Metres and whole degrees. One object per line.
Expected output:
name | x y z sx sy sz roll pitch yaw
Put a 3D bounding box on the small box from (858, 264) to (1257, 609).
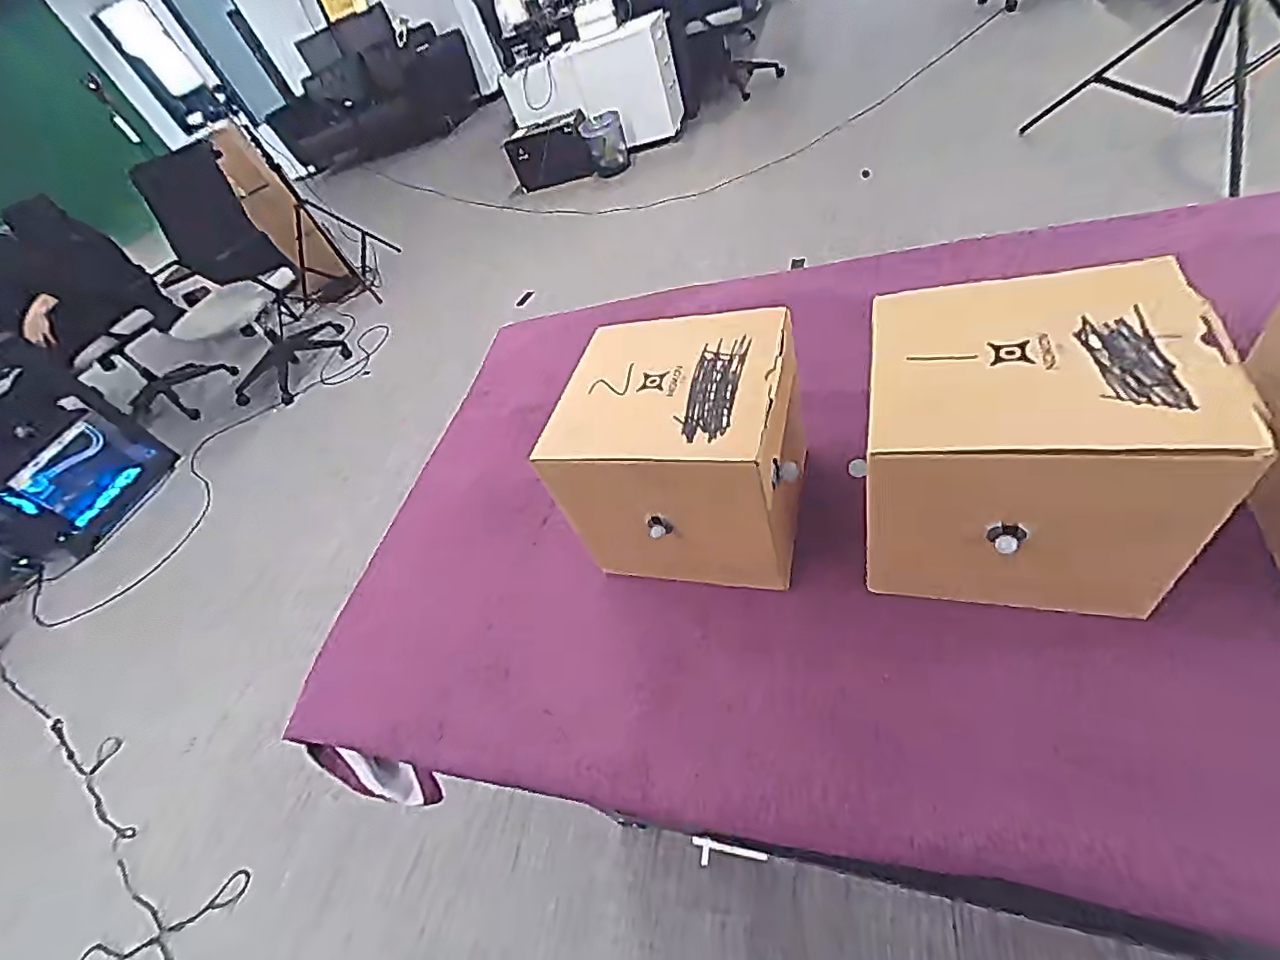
small box | 0.255 -0.023 0.387 0.179 0.176 0.168 1 50 25
